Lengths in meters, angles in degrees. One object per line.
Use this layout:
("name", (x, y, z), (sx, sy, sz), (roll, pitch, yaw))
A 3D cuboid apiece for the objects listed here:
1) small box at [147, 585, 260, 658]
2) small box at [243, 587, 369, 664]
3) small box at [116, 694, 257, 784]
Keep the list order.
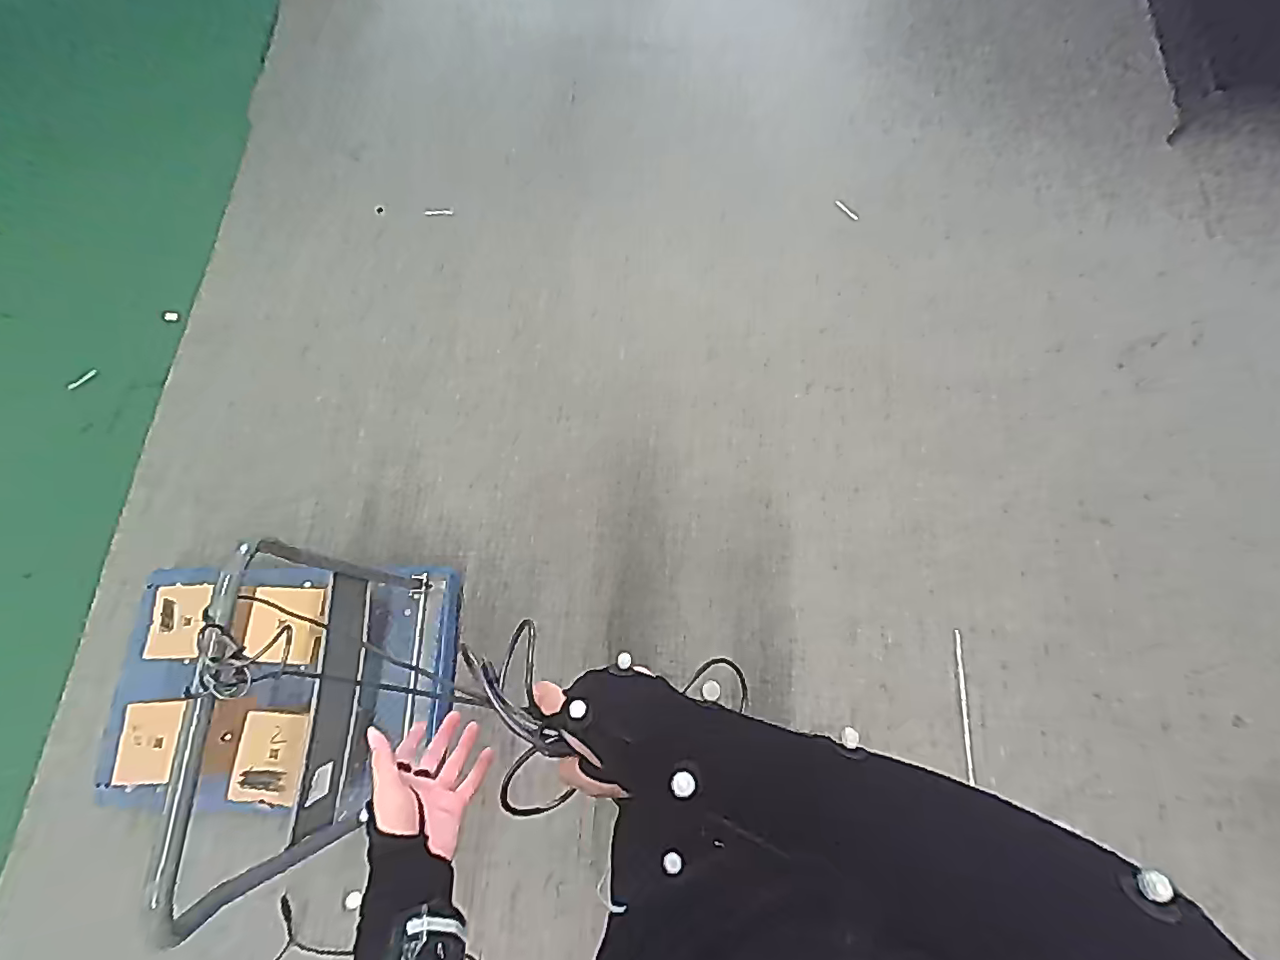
("small box", (-1.039, 0.351, 1.331), (0.179, 0.176, 0.168), (-3, 74, 5))
("small box", (-0.795, 0.352, 1.303), (0.179, 0.176, 0.168), (1, 74, 6))
("small box", (-1.041, 0.596, 1.259), (0.179, 0.176, 0.168), (-4, 73, 5))
